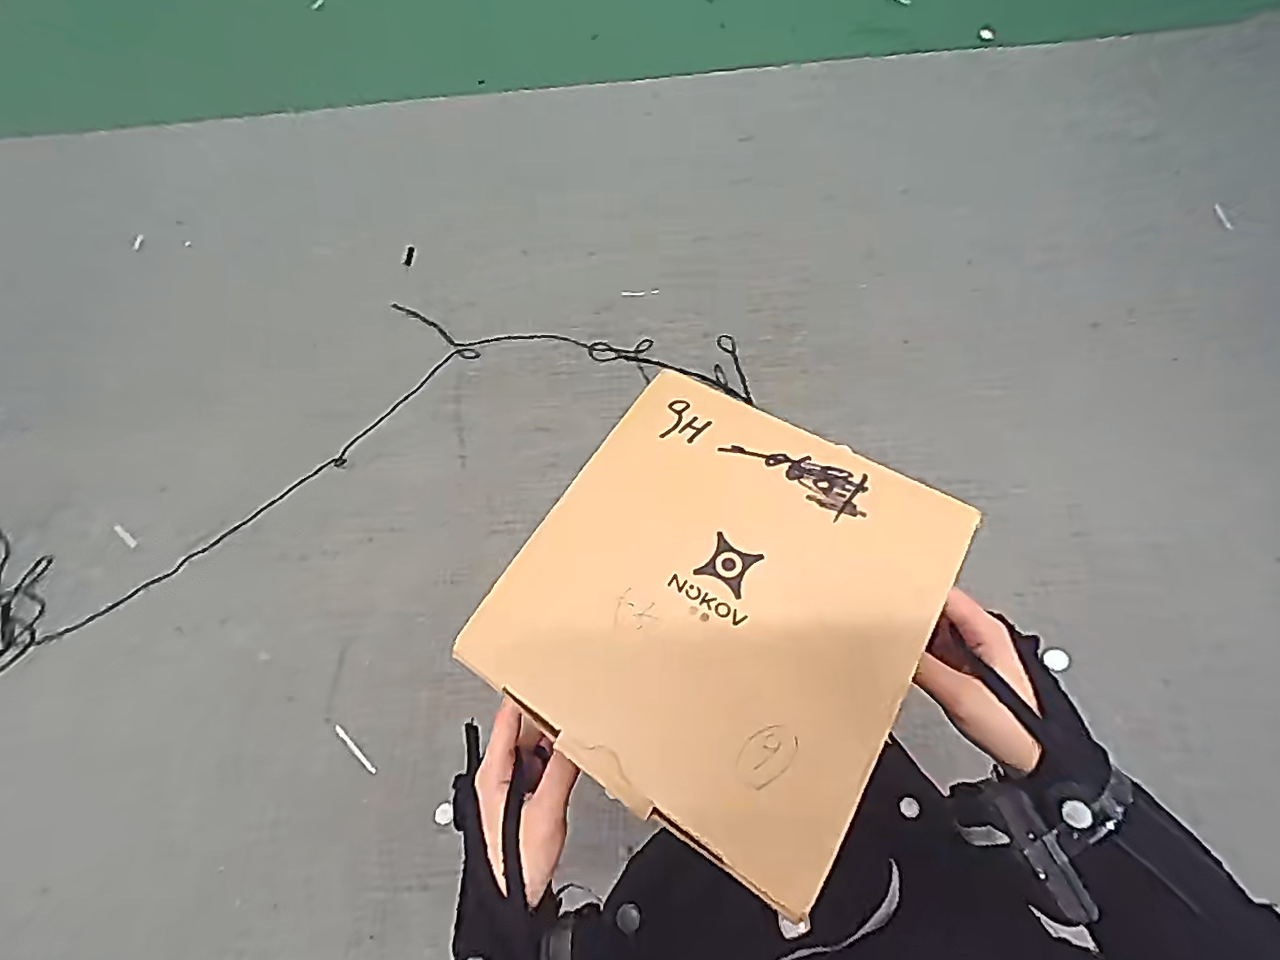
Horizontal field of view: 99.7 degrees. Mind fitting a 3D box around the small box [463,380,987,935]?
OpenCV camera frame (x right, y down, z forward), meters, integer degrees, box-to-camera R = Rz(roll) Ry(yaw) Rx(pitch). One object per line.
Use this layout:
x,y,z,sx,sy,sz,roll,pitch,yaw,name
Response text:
0.045,0.085,0.302,0.168,0.176,0.179,29,70,20,small box
